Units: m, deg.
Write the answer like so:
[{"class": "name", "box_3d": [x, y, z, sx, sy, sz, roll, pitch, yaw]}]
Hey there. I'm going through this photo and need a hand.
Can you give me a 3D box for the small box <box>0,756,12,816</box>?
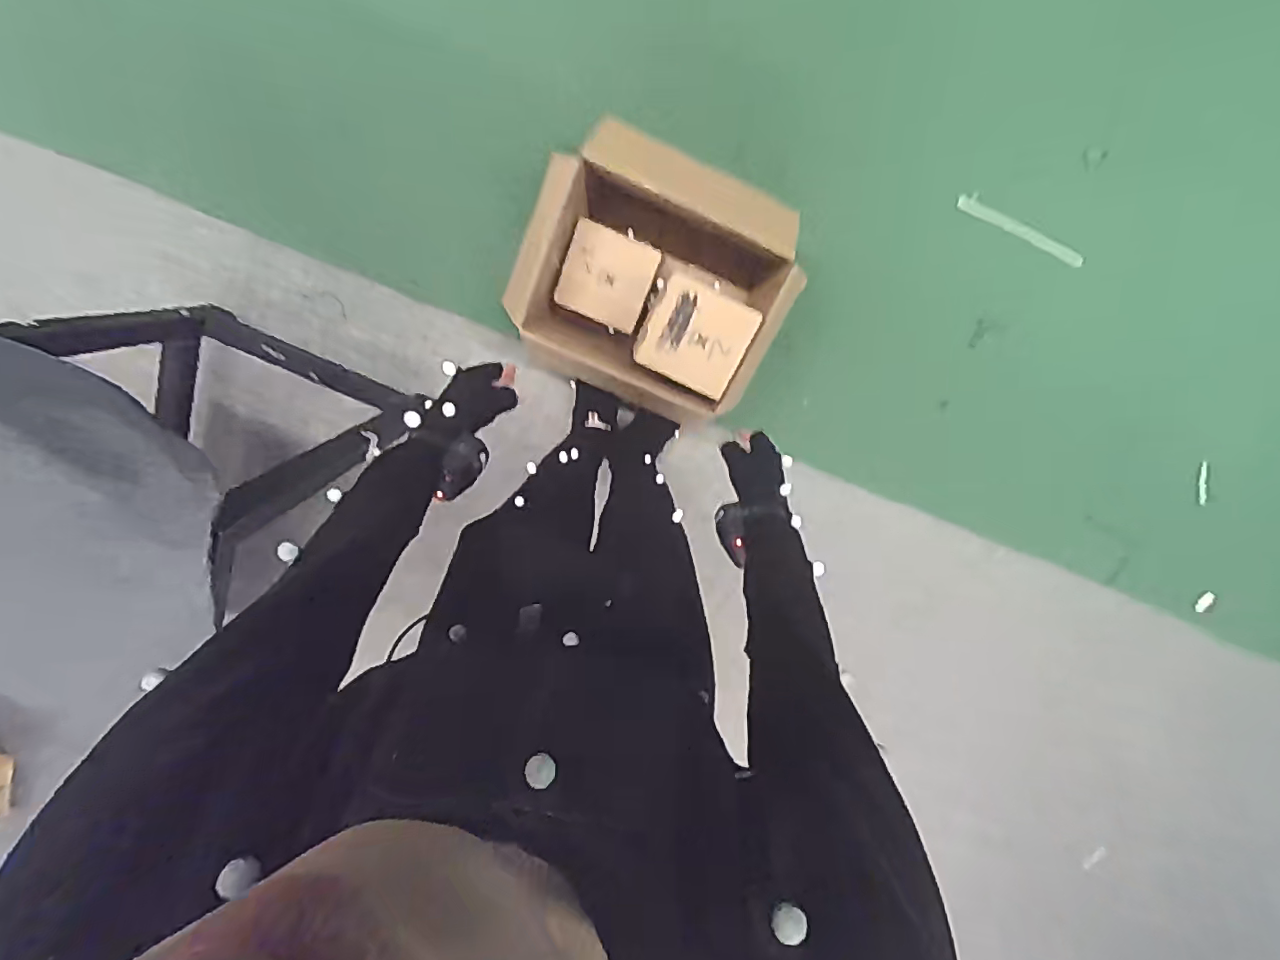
[{"class": "small box", "box_3d": [-1.115, 0.500, 0.807, 0.179, 0.176, 0.168, 27, 110, -7]}]
